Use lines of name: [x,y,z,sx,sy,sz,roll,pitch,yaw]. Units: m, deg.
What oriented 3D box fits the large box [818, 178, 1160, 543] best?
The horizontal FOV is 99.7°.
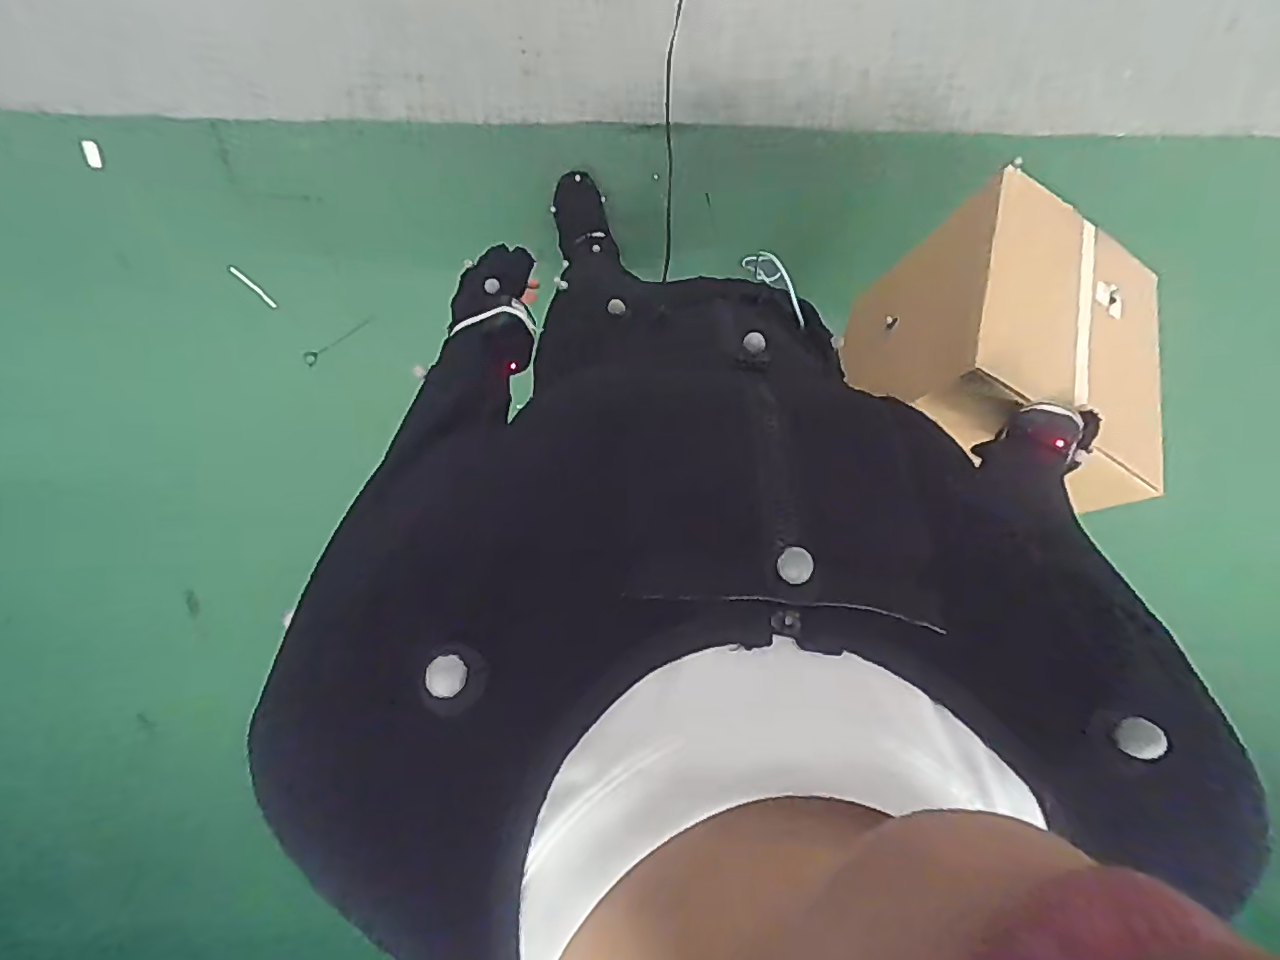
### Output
large box: [0.537,-0.165,0.867,0.320,0.408,0.320,29,154,-10]
